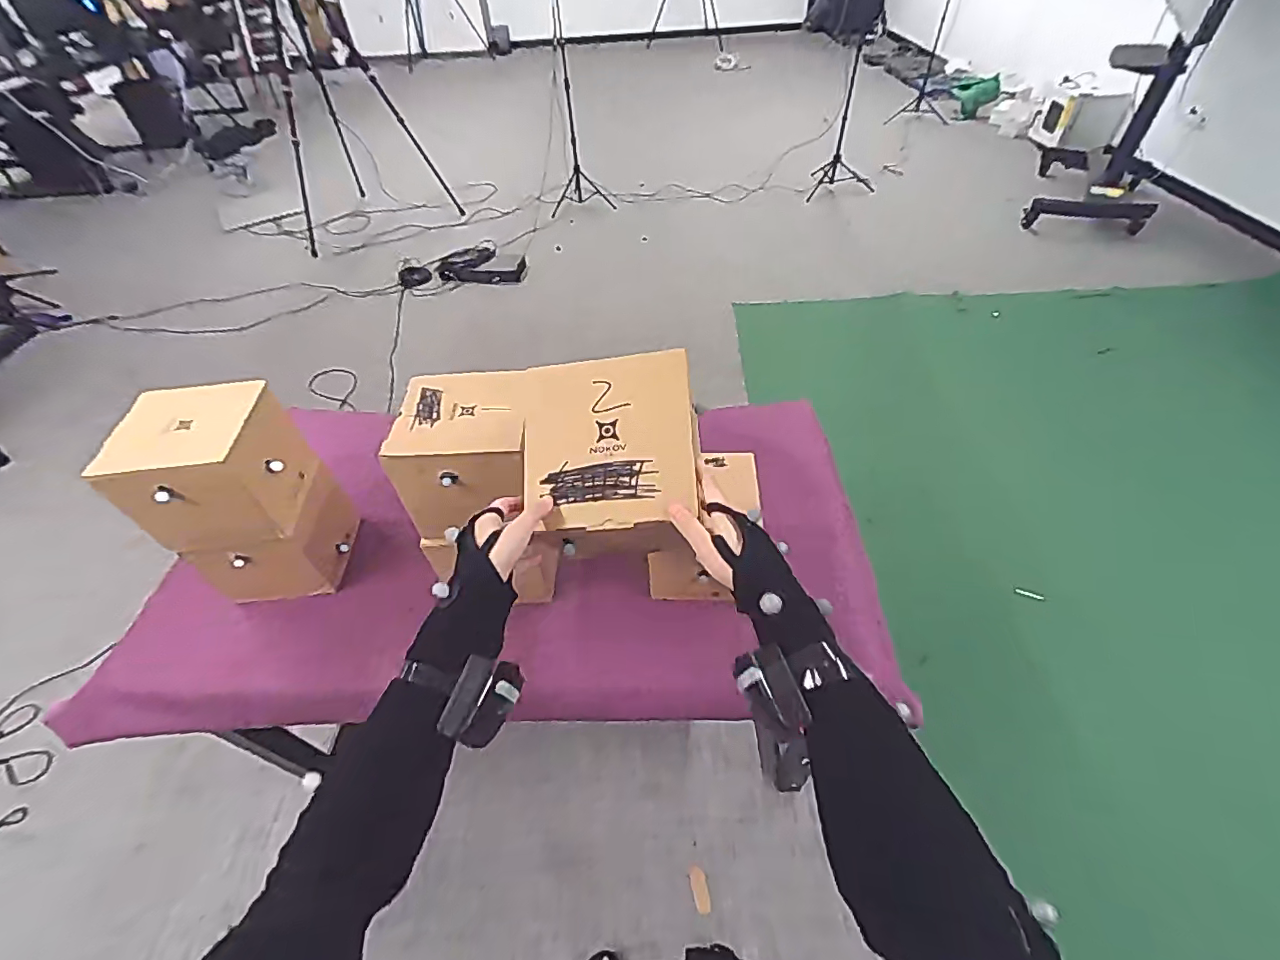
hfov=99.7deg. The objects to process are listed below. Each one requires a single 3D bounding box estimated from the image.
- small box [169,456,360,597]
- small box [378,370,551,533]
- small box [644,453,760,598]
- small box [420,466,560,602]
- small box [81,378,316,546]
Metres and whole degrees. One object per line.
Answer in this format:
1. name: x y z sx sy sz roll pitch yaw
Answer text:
1. small box: -0.606 0.082 0.902 0.179 0.176 0.168 -5 49 -2
2. small box: -0.232 -0.037 0.767 0.179 0.176 0.168 -2 47 0
3. small box: 0.097 0.075 0.868 0.168 0.176 0.179 1 48 4
4. small box: -0.229 0.080 0.882 0.168 0.176 0.179 -1 48 3
5. small box: -0.608 -0.023 0.779 0.179 0.176 0.168 -7 49 -2
